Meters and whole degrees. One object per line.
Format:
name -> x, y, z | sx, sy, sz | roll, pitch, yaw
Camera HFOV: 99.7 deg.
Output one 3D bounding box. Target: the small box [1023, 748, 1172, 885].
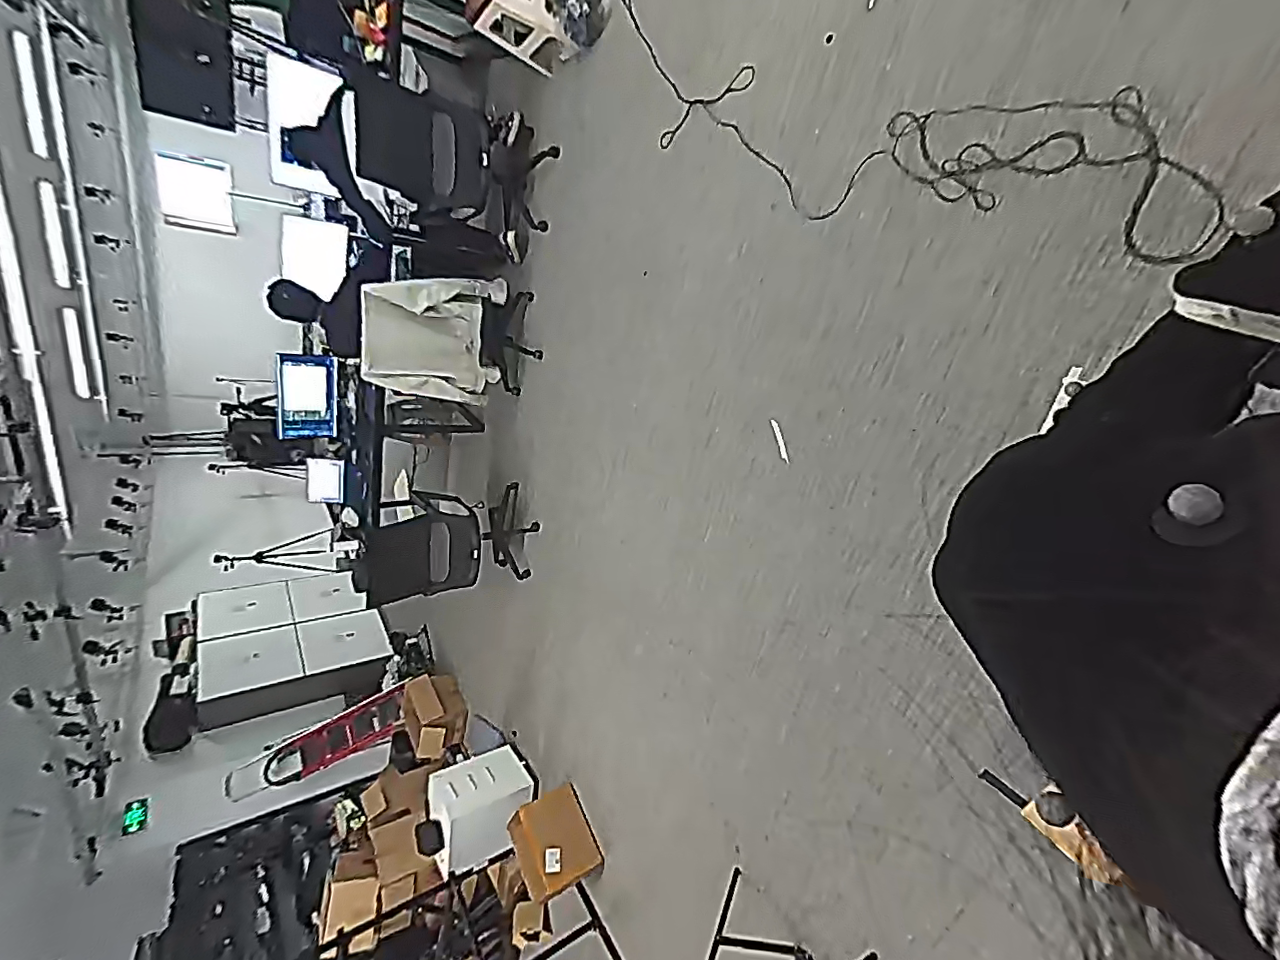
small box -> 0.997, 0.720, 1.181 | 0.179, 0.176, 0.168 | 43, 126, 40
